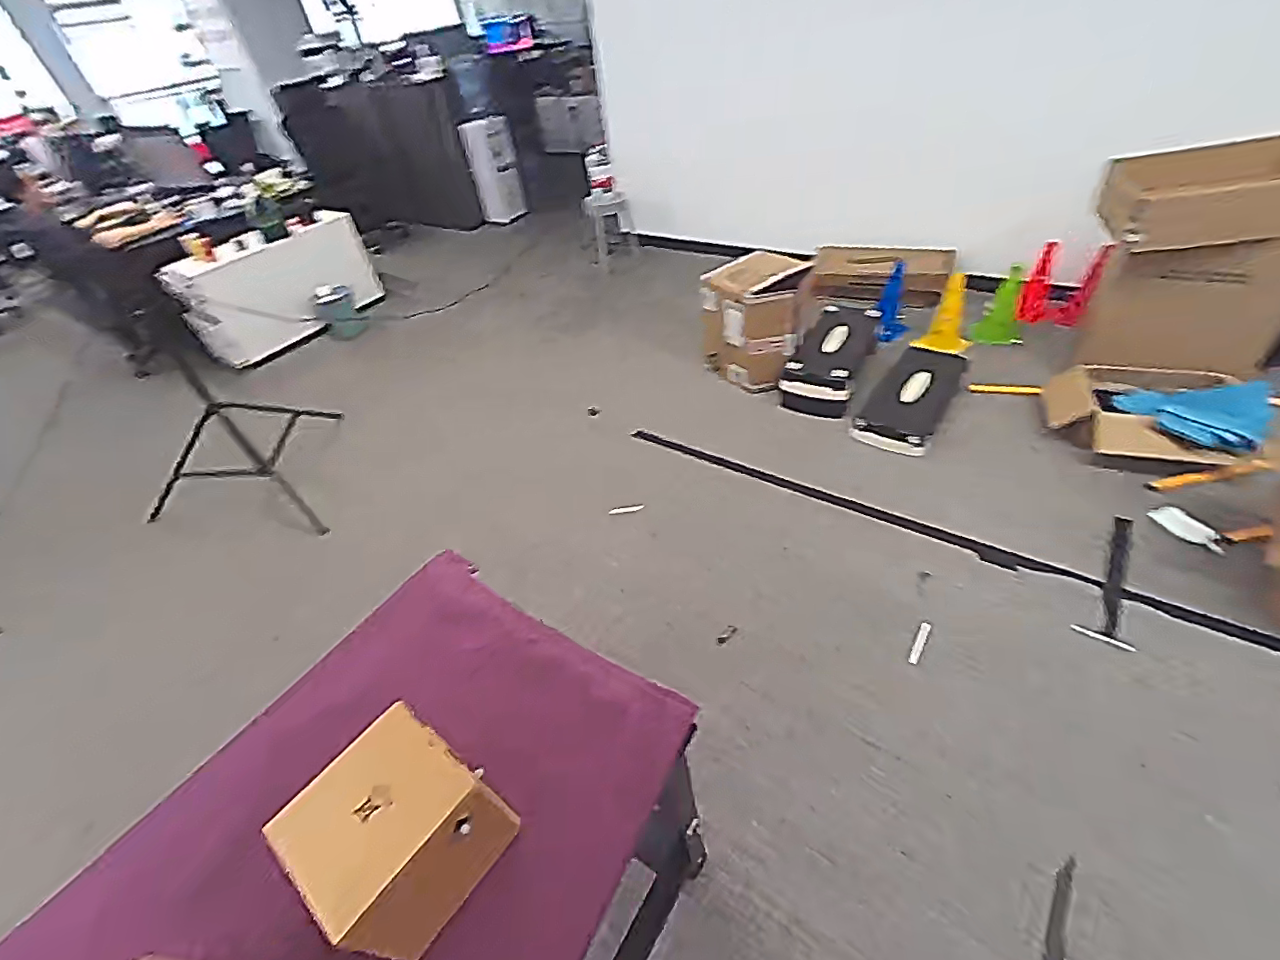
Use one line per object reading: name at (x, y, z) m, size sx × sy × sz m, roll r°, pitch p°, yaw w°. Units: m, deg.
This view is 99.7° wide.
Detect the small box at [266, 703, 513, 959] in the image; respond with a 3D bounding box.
small box at (-0.281, 0.414, 0.640) m, size 0.168 × 0.176 × 0.179 m, roll 22°, pitch 51°, yaw 32°
